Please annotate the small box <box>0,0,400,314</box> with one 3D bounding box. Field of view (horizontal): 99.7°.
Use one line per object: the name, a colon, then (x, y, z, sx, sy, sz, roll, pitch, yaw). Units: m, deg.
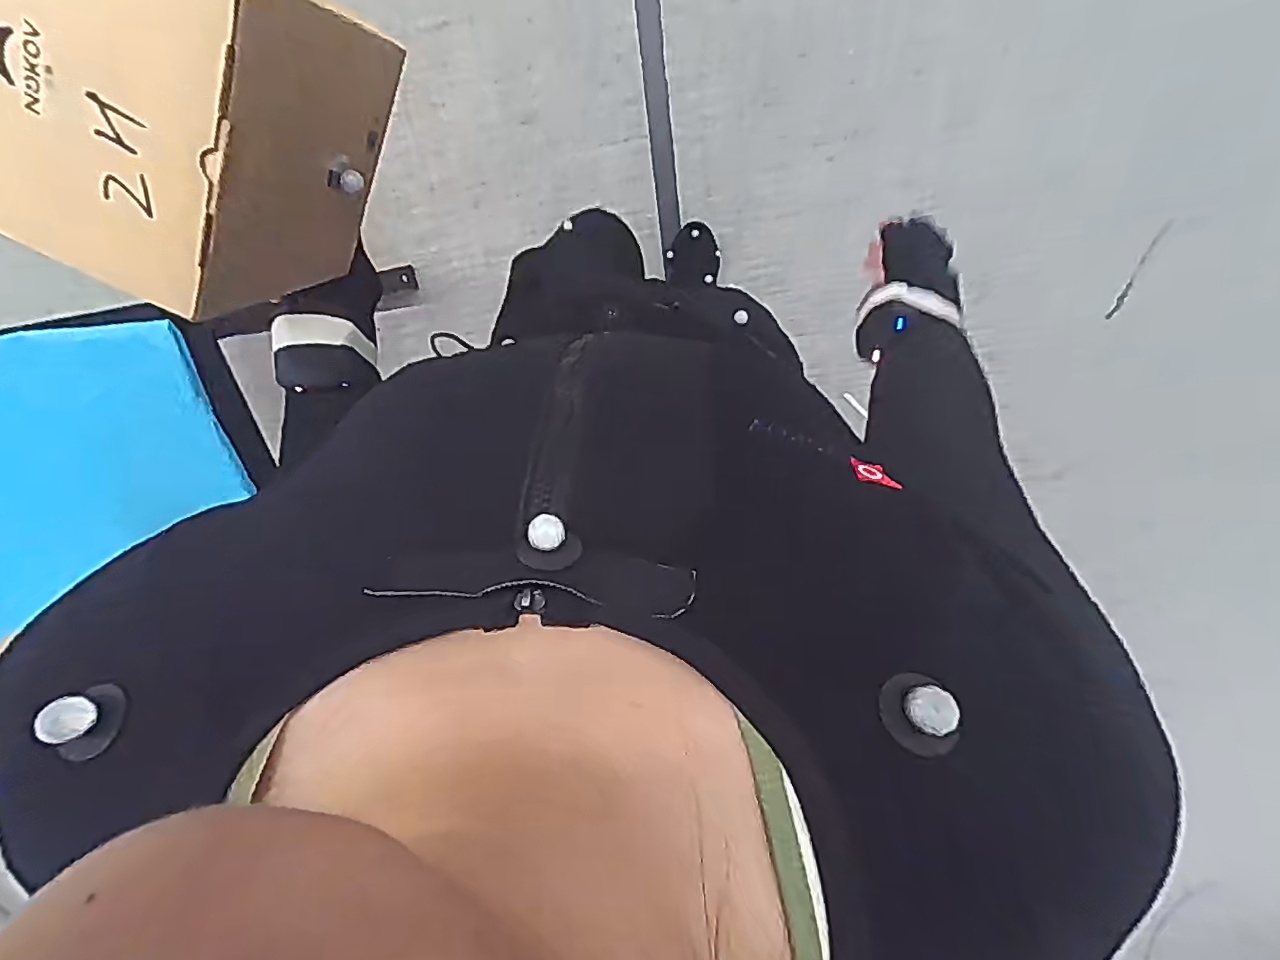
small box: (-0.273, -0.227, 0.307, 0.179, 0.176, 0.168, 28, 118, -16)
